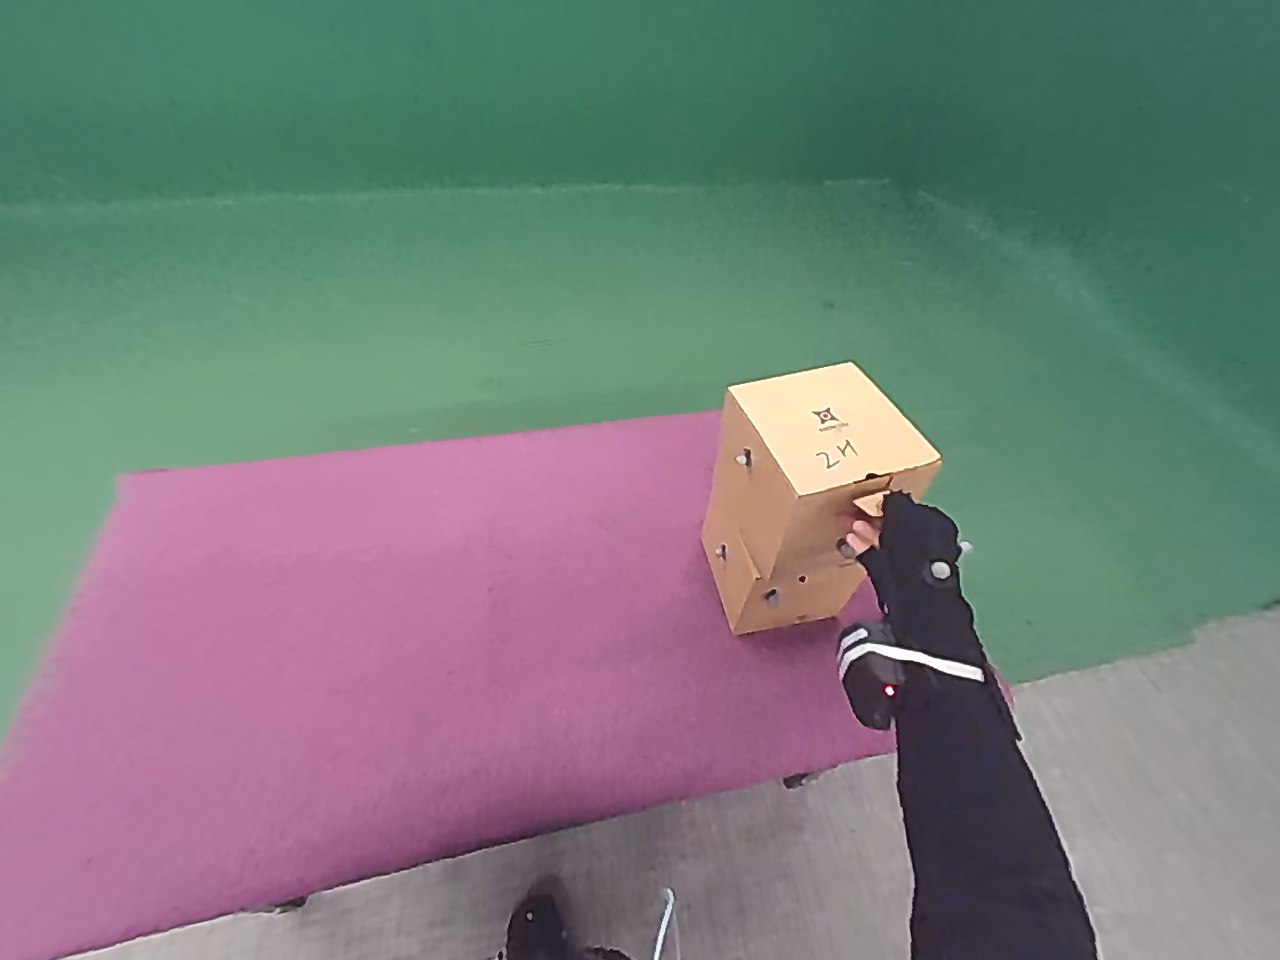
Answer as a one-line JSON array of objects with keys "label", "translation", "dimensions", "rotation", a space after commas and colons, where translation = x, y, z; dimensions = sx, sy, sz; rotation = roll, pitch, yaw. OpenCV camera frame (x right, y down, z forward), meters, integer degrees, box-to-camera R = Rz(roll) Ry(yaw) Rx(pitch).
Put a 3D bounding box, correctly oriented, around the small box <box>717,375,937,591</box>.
[{"label": "small box", "translation": [0.201, 0.004, 0.648], "dimensions": [0.168, 0.176, 0.179], "rotation": [-13, 50, -11]}]
